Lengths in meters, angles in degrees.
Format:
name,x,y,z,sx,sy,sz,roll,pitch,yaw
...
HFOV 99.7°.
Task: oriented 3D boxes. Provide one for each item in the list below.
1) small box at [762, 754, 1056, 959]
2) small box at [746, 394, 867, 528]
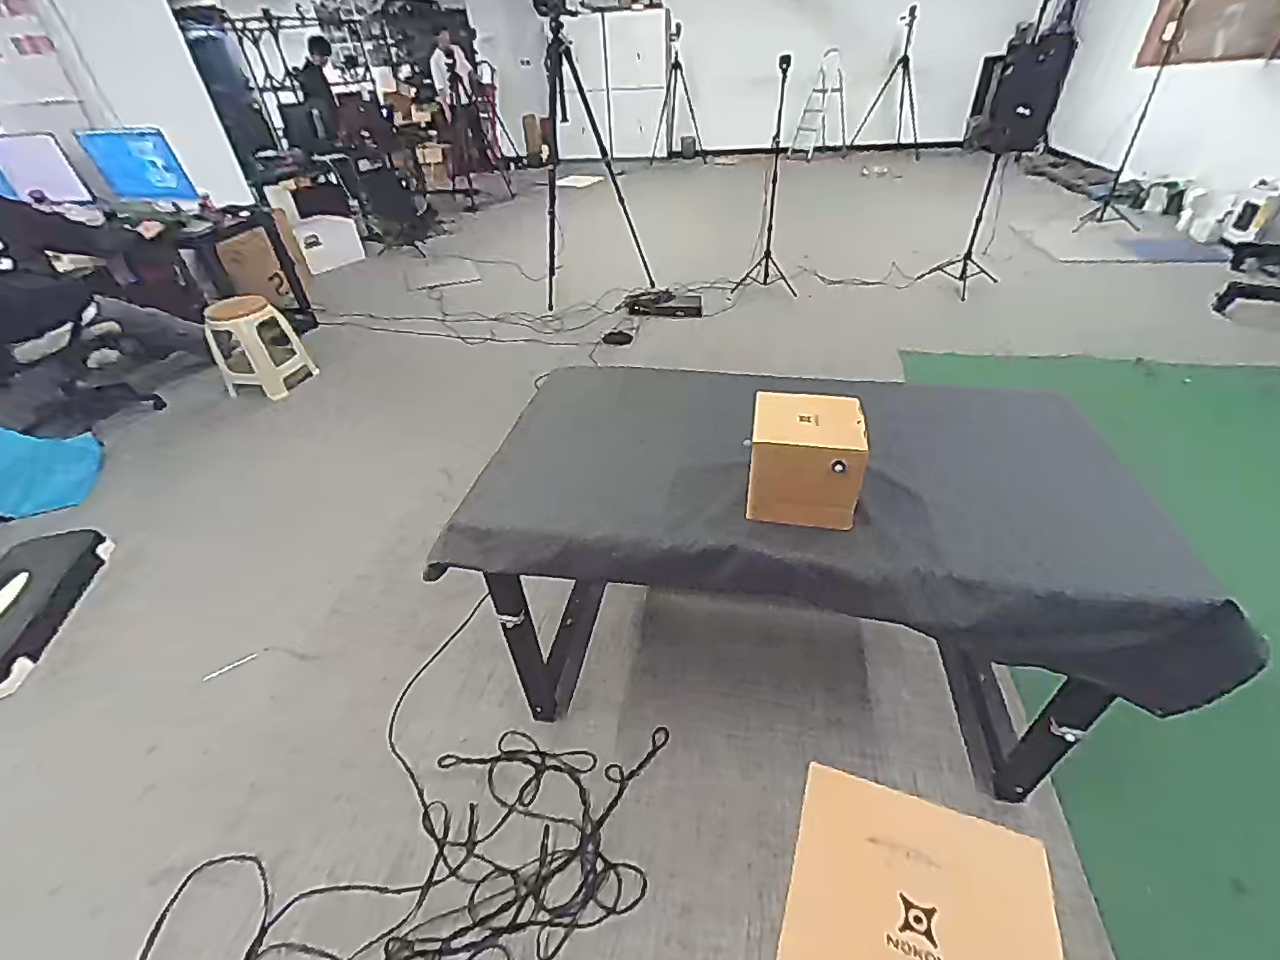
name,x,y,z,sx,sy,sz,roll,pitch,yaw
small box,0.183,0.352,0.400,0.168,0.176,0.179,11,36,20
small box,0.280,-0.034,0.939,0.179,0.176,0.168,5,39,11
